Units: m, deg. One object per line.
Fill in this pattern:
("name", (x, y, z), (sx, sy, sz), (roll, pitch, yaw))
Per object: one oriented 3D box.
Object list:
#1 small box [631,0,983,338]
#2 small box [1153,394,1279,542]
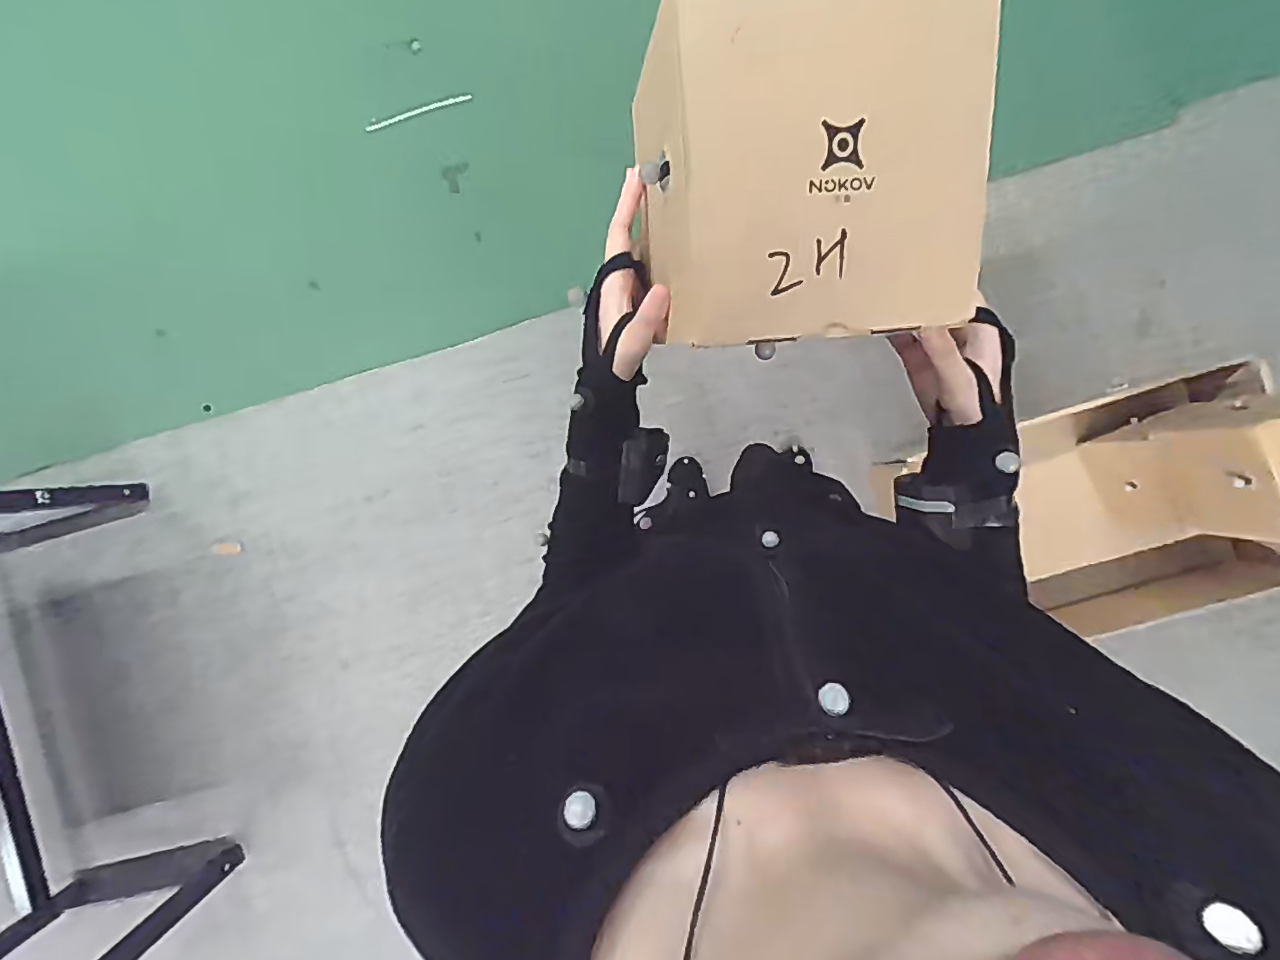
("small box", (0.088, -0.191, 0.359), (0.168, 0.176, 0.179), (-6, 105, -5))
("small box", (0.932, -0.024, 0.798), (0.168, 0.176, 0.179), (-22, 89, 5))
